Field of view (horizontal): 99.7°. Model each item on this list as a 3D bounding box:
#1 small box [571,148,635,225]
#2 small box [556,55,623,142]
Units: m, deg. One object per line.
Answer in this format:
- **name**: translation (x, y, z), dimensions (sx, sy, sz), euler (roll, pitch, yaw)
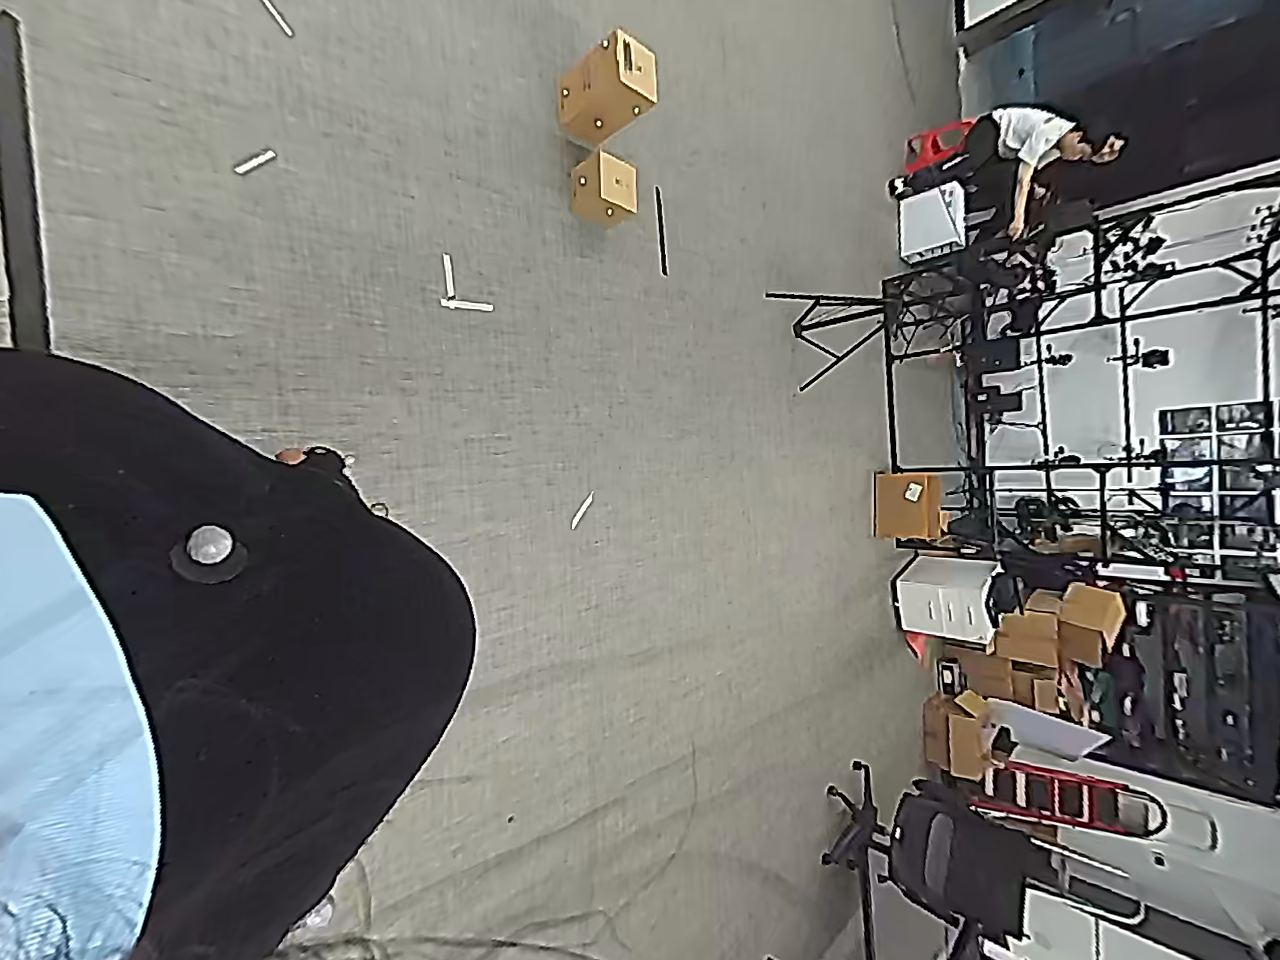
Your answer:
- **small box**: translation (-0.139, -1.054, 1.961), dimensions (0.179, 0.176, 0.168), euler (-2, 91, -45)
- **small box**: translation (-0.180, -1.350, 1.931), dimensions (0.179, 0.176, 0.168), euler (-3, 91, -45)
